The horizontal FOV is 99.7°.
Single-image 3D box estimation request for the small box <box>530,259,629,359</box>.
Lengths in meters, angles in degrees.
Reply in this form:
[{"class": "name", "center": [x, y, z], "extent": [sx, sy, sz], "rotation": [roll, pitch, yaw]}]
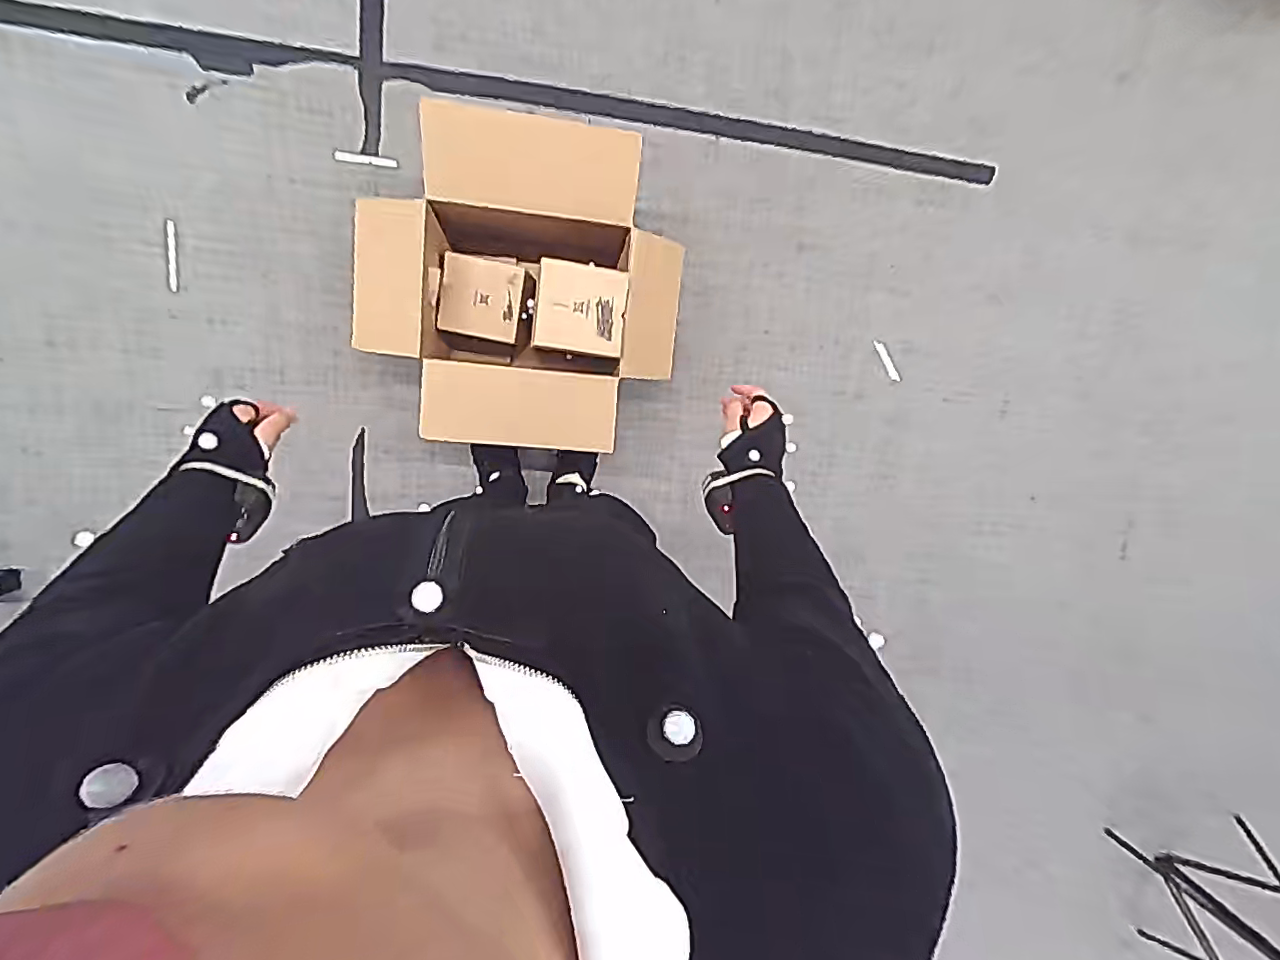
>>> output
[{"class": "small box", "center": [-0.134, -0.352, 1.142], "extent": [0.179, 0.176, 0.168], "rotation": [6, 99, -13]}]
